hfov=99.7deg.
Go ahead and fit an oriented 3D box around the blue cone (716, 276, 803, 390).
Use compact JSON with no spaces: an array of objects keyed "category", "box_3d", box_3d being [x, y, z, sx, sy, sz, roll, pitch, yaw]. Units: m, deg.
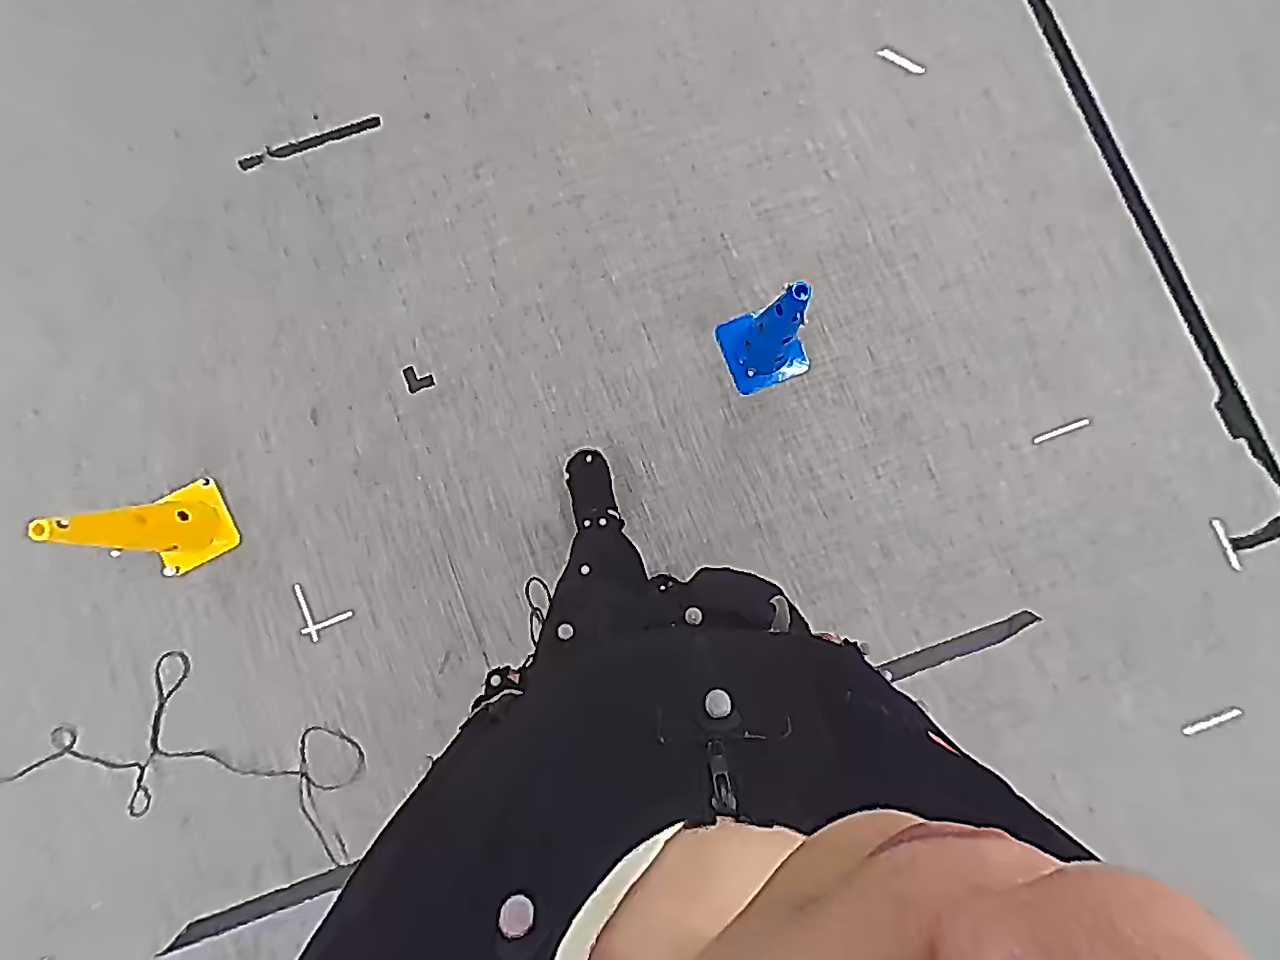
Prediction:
[{"category":"blue cone","box_3d":[0.308,-0.354,1.235,0.193,0.380,0.192,-20,85,-1]}]
